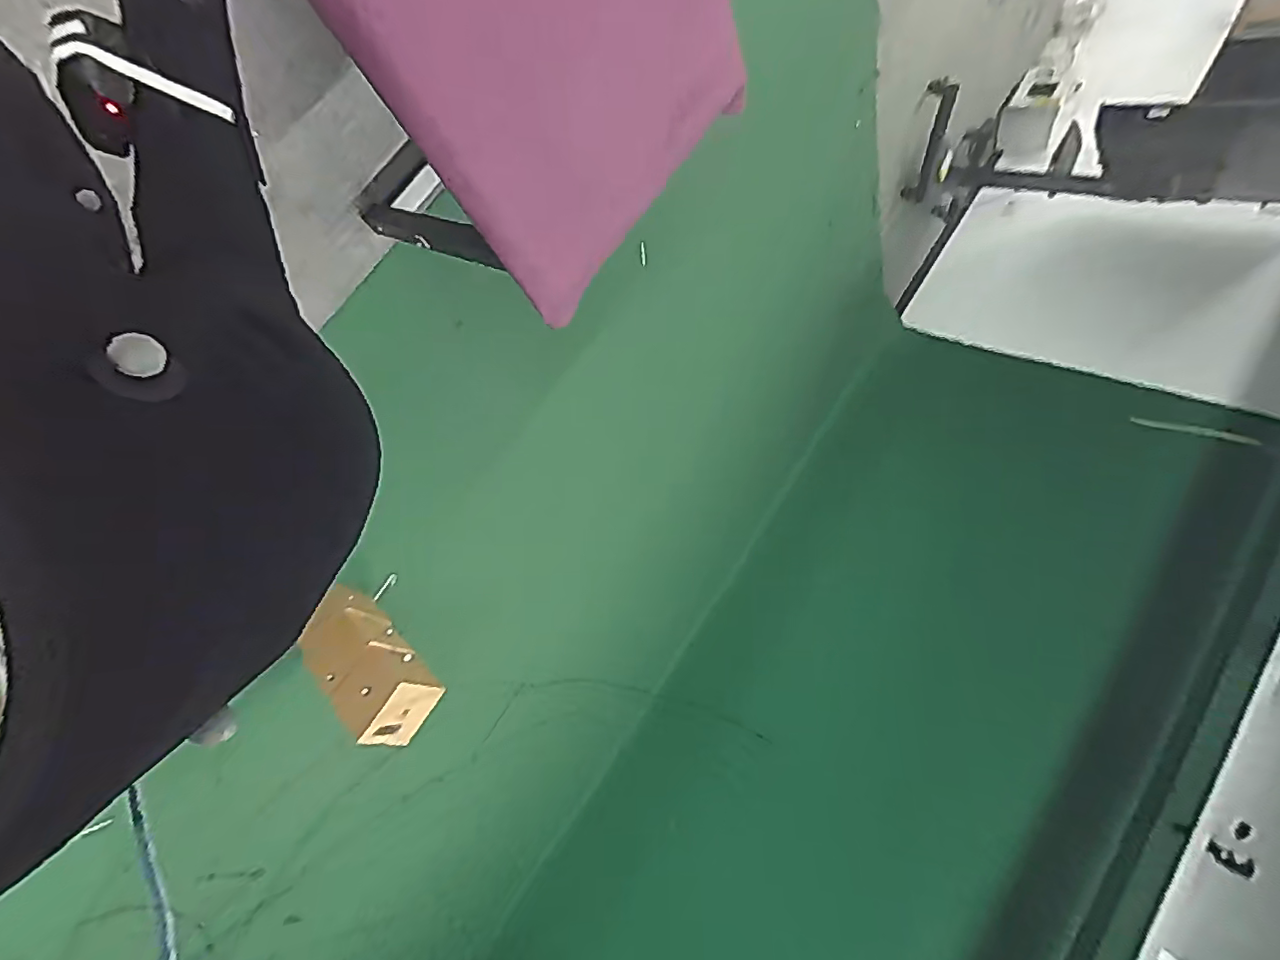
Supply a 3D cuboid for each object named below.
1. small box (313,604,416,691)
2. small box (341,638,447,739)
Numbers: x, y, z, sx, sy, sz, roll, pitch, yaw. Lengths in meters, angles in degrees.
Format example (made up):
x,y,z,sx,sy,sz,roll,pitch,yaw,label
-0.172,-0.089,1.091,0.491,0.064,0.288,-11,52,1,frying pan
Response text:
x,y,z,sx,sy,sz,roll,pitch,yaw,label
-0.784,0.479,1.533,0.179,0.176,0.168,-54,145,-8,small box
-0.665,0.558,1.447,0.179,0.176,0.168,-52,146,-9,small box
